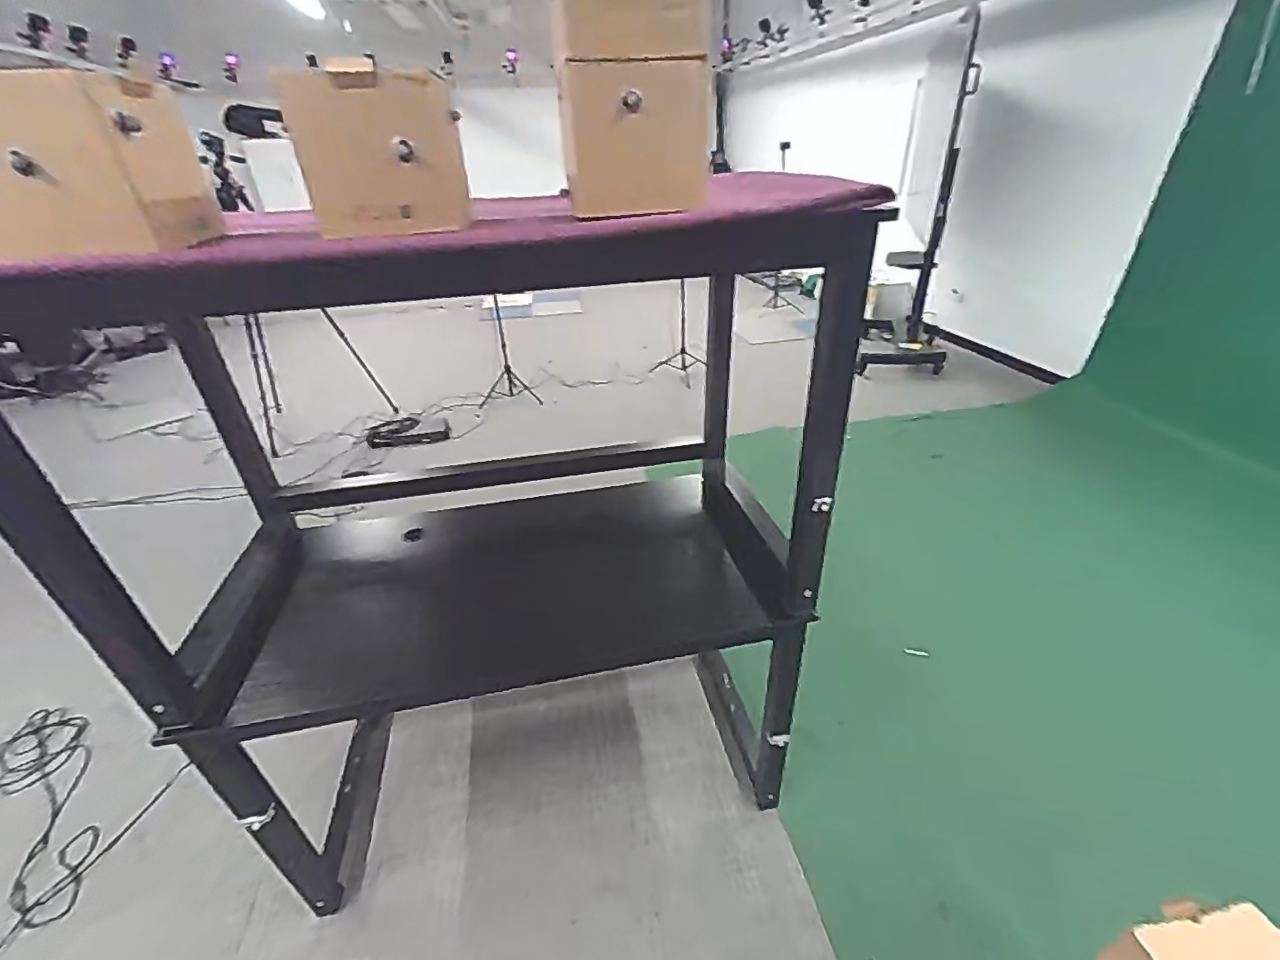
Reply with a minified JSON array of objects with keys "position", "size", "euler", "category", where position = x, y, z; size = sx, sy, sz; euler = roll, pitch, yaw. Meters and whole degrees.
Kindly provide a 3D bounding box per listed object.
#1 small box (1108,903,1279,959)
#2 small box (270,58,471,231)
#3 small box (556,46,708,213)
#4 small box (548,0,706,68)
[{"position":[0.651,0.610,0.587],"size":[0.168,0.176,0.179],"euler":[-6,32,-6],"category":"small box"},{"position":[-0.316,-0.411,0.680],"size":[0.168,0.176,0.179],"euler":[-6,31,-8],"category":"small box"},{"position":[-0.012,-0.461,0.734],"size":[0.179,0.176,0.168],"euler":[-8,29,-9],"category":"small box"},{"position":[-0.023,-0.605,0.658],"size":[0.179,0.176,0.168],"euler":[-8,29,-9],"category":"small box"}]
